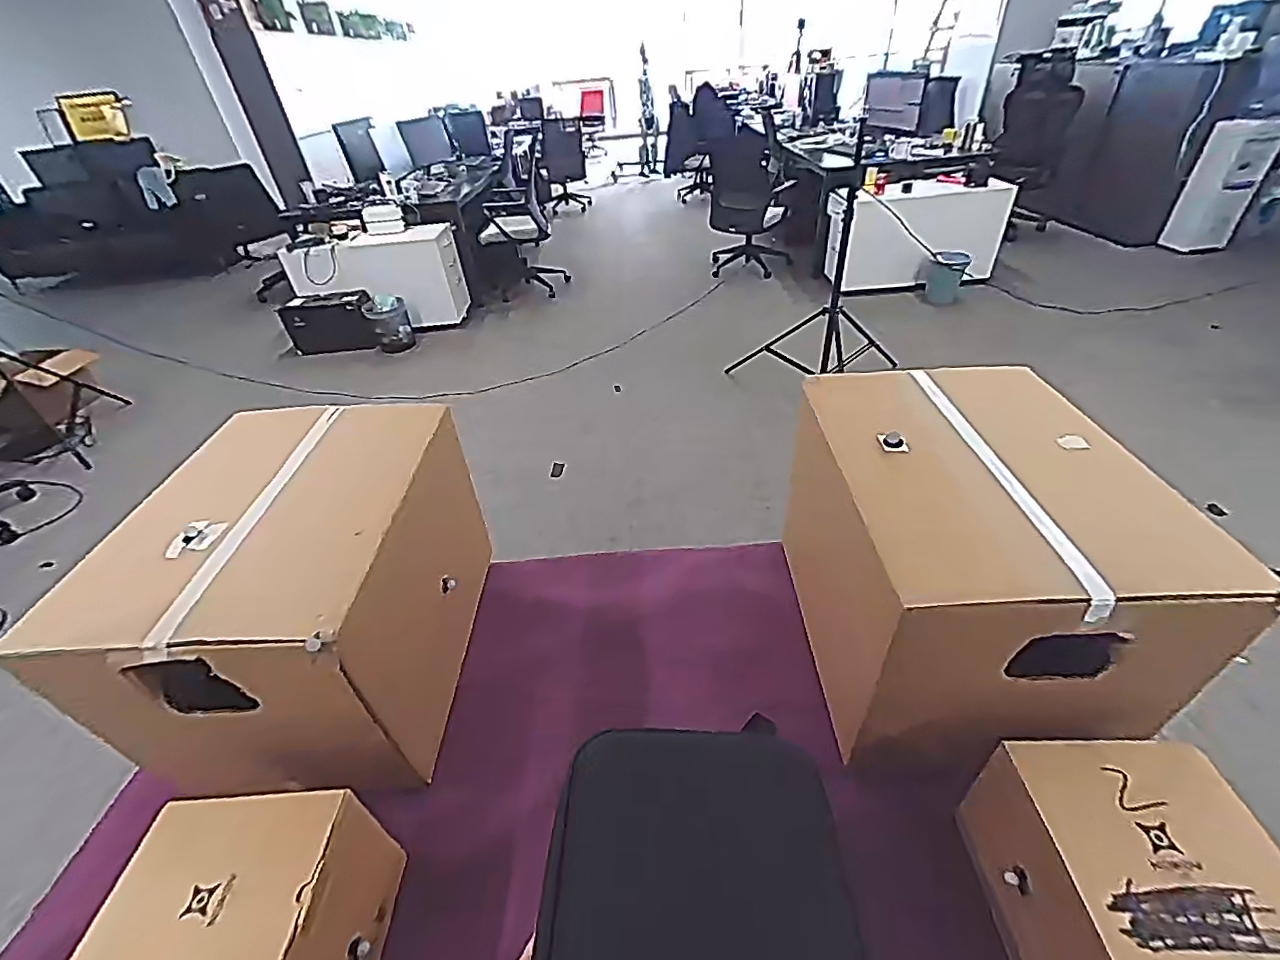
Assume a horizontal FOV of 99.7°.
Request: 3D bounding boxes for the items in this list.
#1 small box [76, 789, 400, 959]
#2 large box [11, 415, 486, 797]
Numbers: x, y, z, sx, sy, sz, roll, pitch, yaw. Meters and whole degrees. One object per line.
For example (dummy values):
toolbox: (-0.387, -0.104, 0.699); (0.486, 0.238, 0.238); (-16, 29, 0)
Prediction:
small box: (-0.357, 0.417, 0.503); (0.179, 0.176, 0.168); (-5, 37, 0)
large box: (-0.422, 0.152, 0.733); (0.320, 0.320, 0.408); (-4, 40, 1)
